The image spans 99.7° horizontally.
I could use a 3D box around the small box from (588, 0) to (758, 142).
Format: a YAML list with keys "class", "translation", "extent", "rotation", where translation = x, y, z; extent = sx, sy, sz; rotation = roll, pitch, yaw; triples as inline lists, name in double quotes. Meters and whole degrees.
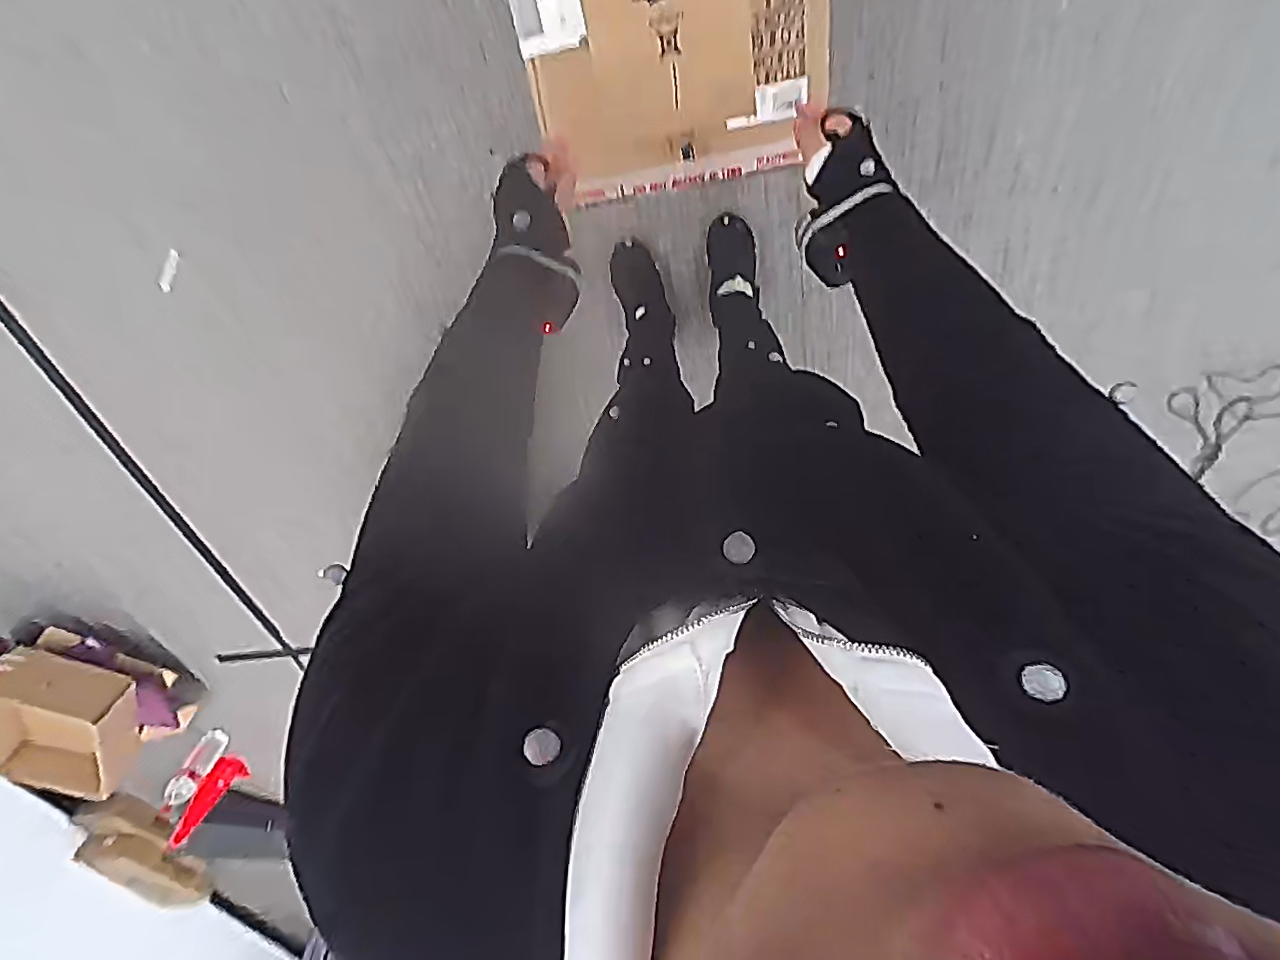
- class: "small box"
  translation: [0.036, -0.506, 0.612]
  extent: [0.168, 0.176, 0.179]
  rotation: [-8, 127, 8]
